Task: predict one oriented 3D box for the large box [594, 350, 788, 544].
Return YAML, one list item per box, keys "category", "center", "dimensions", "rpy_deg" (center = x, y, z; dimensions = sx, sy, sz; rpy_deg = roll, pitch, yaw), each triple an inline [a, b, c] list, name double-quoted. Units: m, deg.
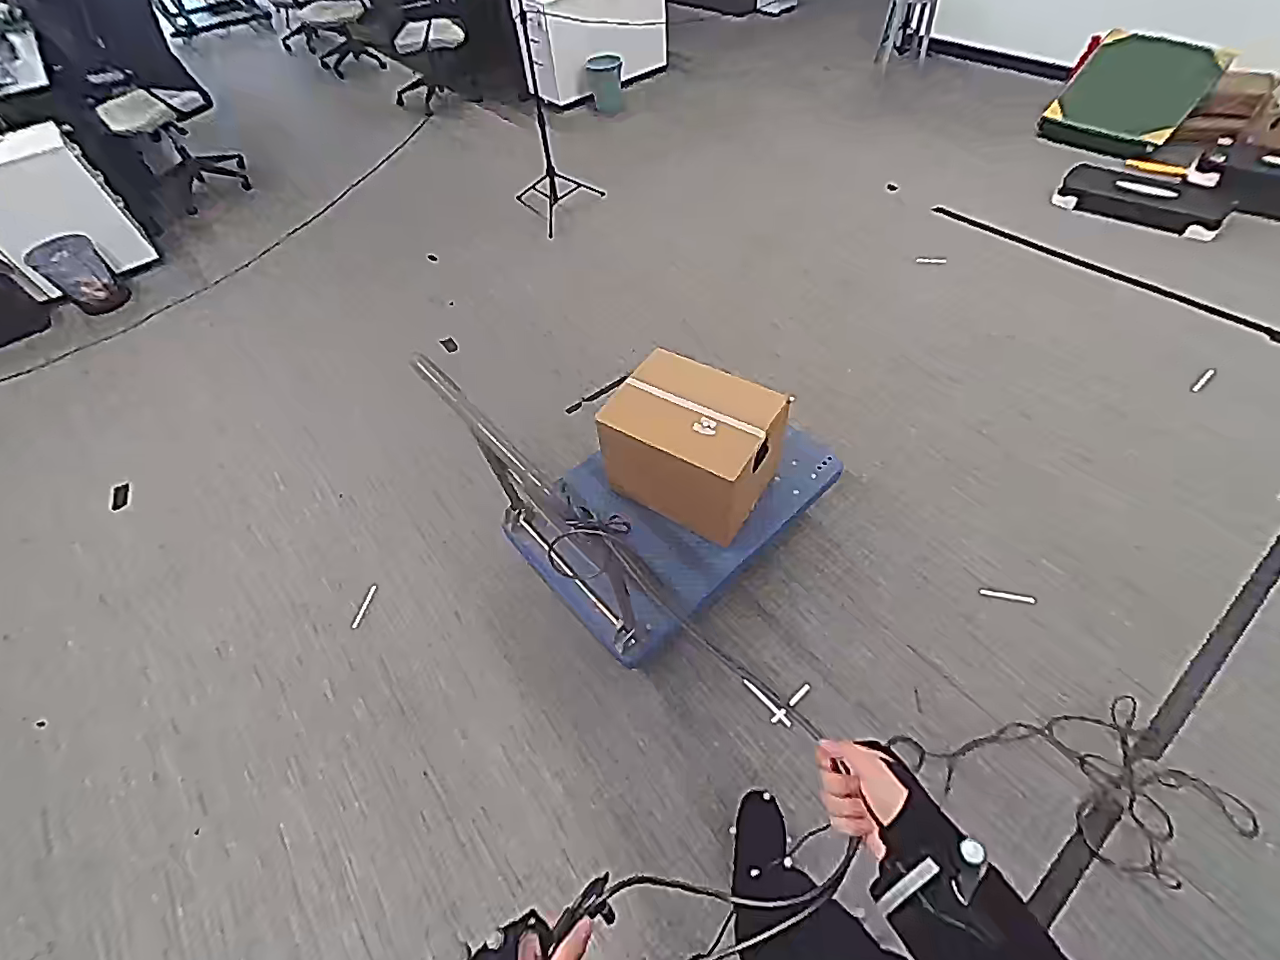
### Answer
- category: "large box"
  center: [0.135, -0.092, 1.478]
  dimensions: [0.408, 0.320, 0.320]
  rpy_deg: [26, 61, 21]
